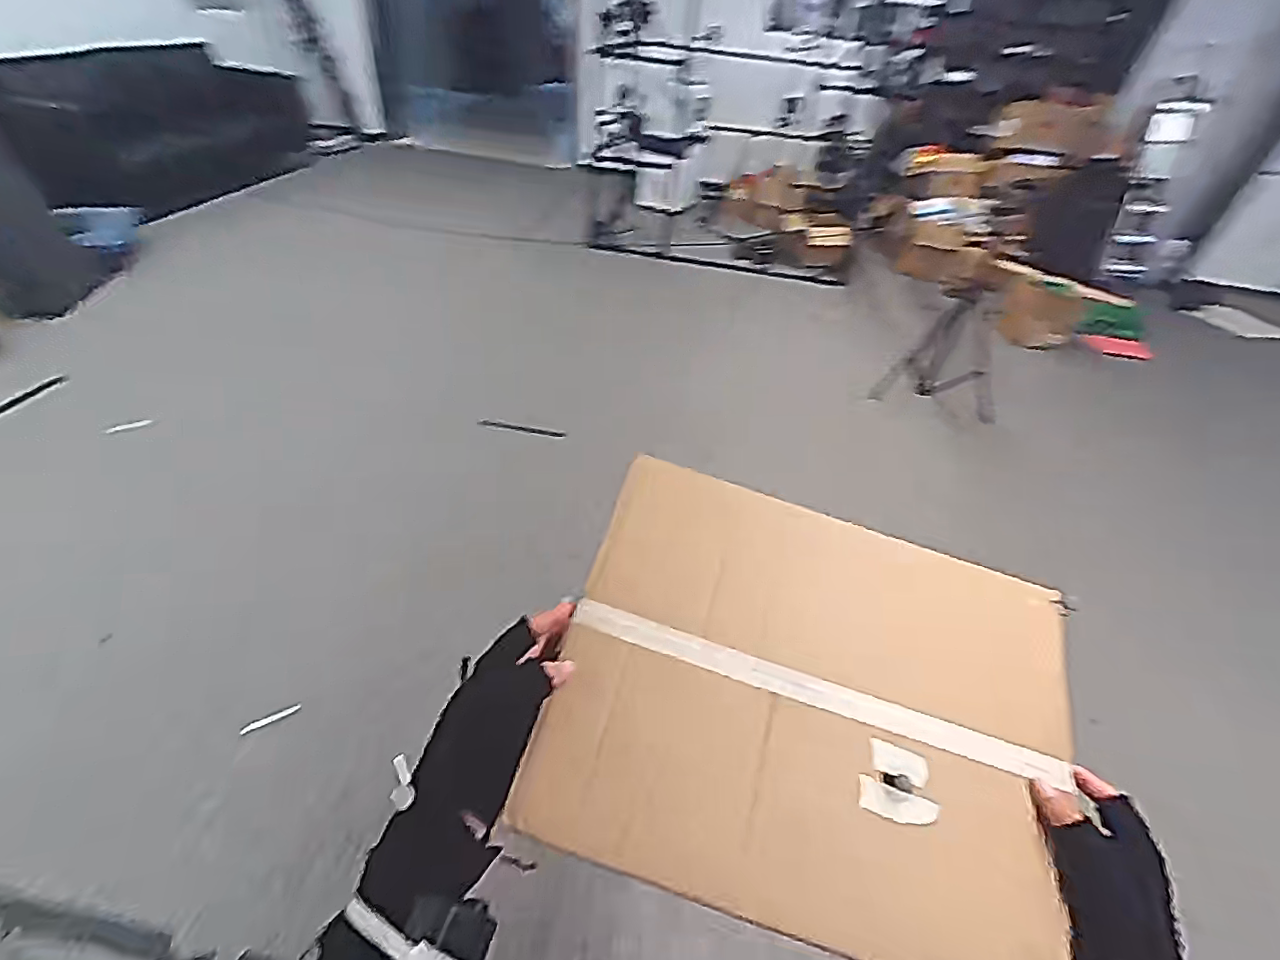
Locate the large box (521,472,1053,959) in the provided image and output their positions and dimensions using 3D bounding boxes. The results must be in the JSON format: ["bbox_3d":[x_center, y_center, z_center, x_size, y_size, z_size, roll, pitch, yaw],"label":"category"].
[{"bbox_3d":[0.125,0.242,0.582,0.408,0.320,0.320,18,63,2],"label":"large box"}]
